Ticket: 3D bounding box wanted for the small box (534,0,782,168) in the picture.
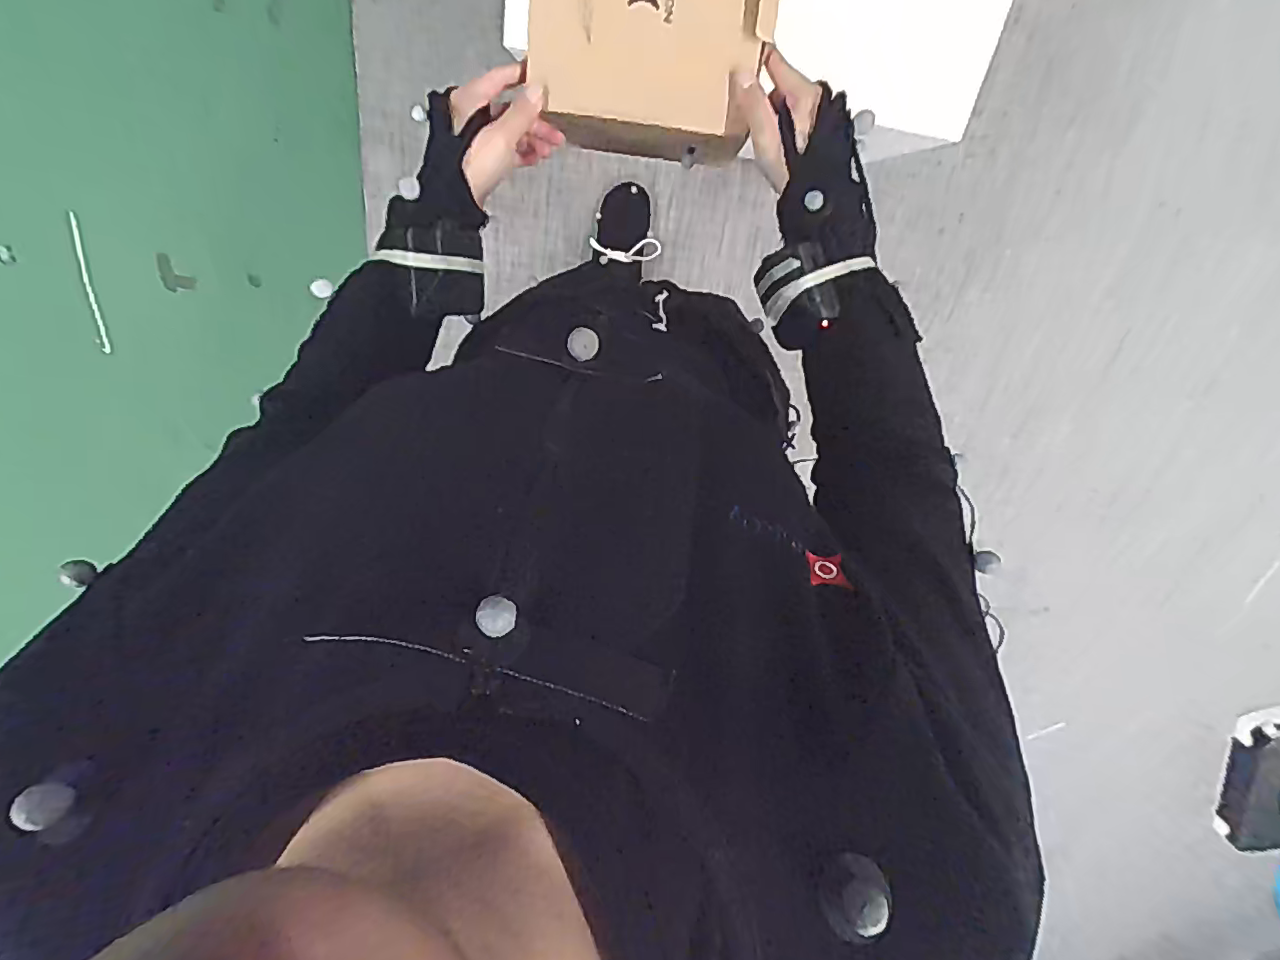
[{"bbox_3d":[0.018,-0.377,0.457,0.179,0.176,0.168,7,111,0],"label":"small box"}]
